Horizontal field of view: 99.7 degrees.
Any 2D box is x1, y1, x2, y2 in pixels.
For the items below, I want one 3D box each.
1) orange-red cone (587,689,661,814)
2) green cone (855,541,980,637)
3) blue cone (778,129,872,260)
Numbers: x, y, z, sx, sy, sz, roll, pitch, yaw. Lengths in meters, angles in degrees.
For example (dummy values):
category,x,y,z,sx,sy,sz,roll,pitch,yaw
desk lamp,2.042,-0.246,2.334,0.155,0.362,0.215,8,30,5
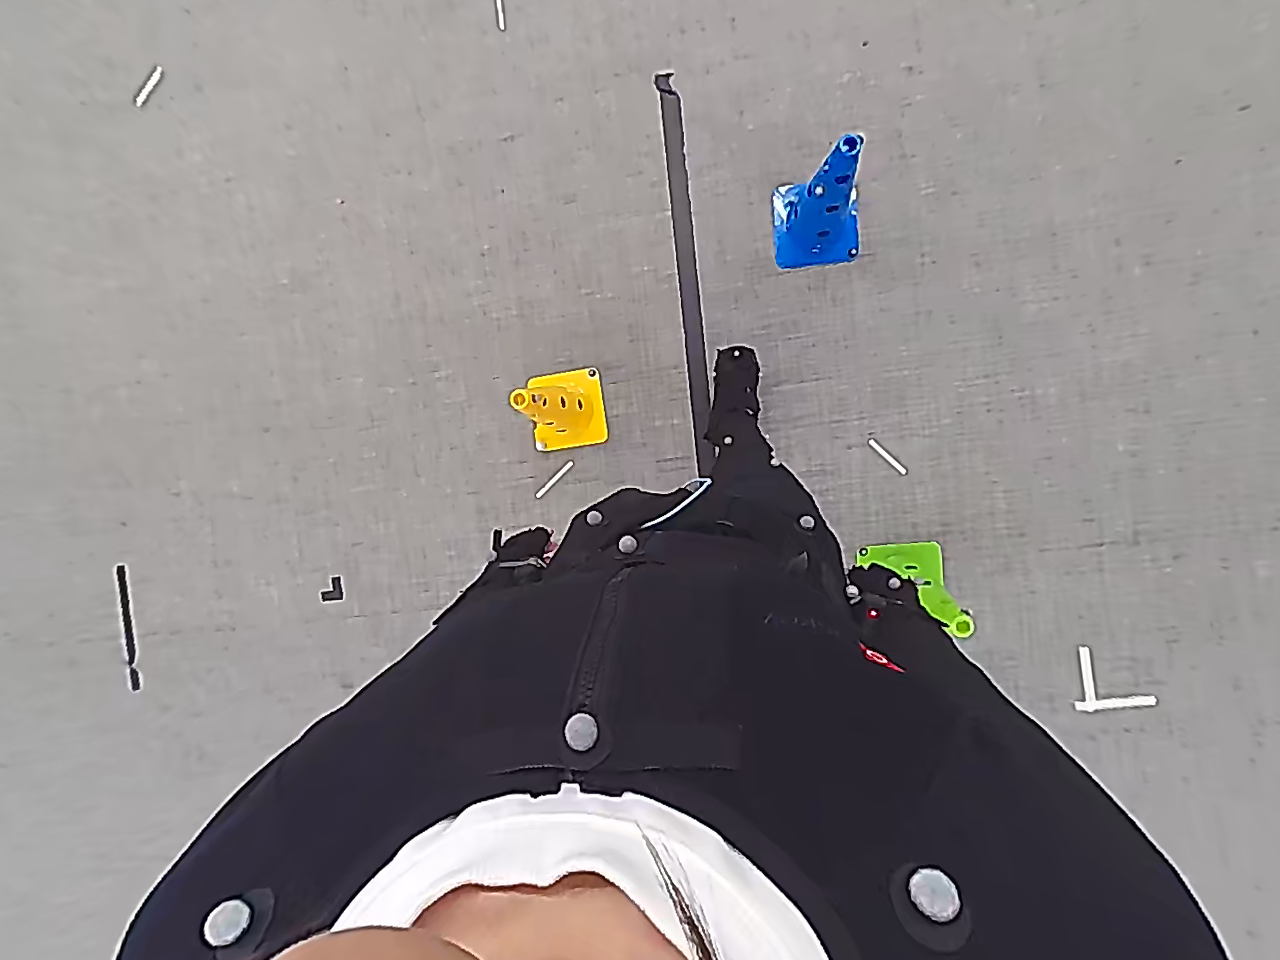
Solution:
category,x,y,z,sx,sy,sz,roll,pitch,yaw
orange-red cone,-0.069,0.675,1.299,0.199,0.360,0.198,-1,92,9
green cone,0.623,0.265,1.171,0.202,0.368,0.200,-6,92,7
blue cone,0.417,-0.631,1.166,0.192,0.380,0.193,-2,93,7
